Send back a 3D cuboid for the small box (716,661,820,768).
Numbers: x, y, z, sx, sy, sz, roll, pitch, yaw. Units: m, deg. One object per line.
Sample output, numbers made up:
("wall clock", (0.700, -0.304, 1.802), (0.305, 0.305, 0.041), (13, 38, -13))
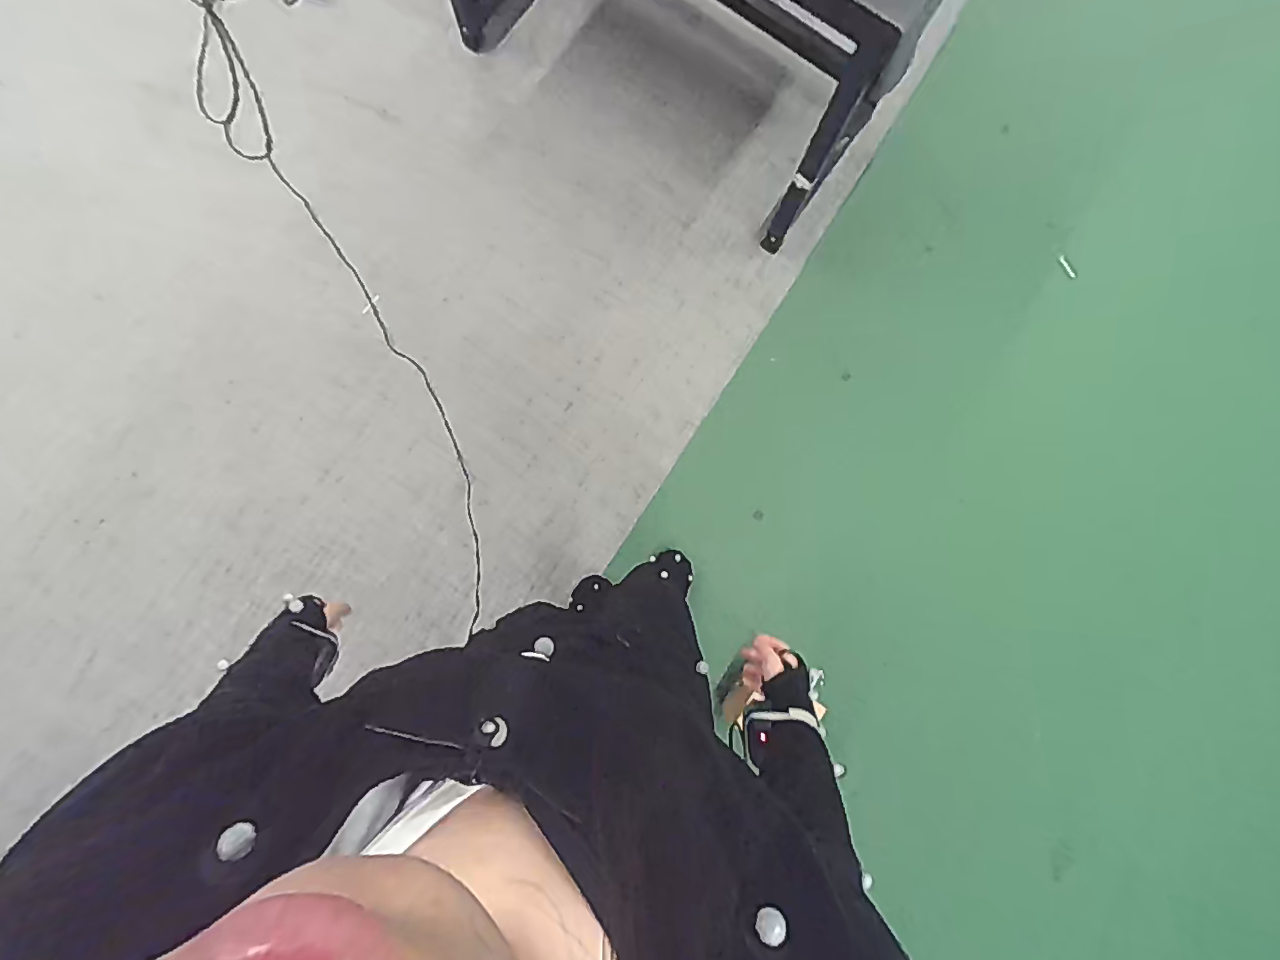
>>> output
("small box", (0.323, 0.595, 1.399), (0.179, 0.176, 0.168), (34, 82, 1))
